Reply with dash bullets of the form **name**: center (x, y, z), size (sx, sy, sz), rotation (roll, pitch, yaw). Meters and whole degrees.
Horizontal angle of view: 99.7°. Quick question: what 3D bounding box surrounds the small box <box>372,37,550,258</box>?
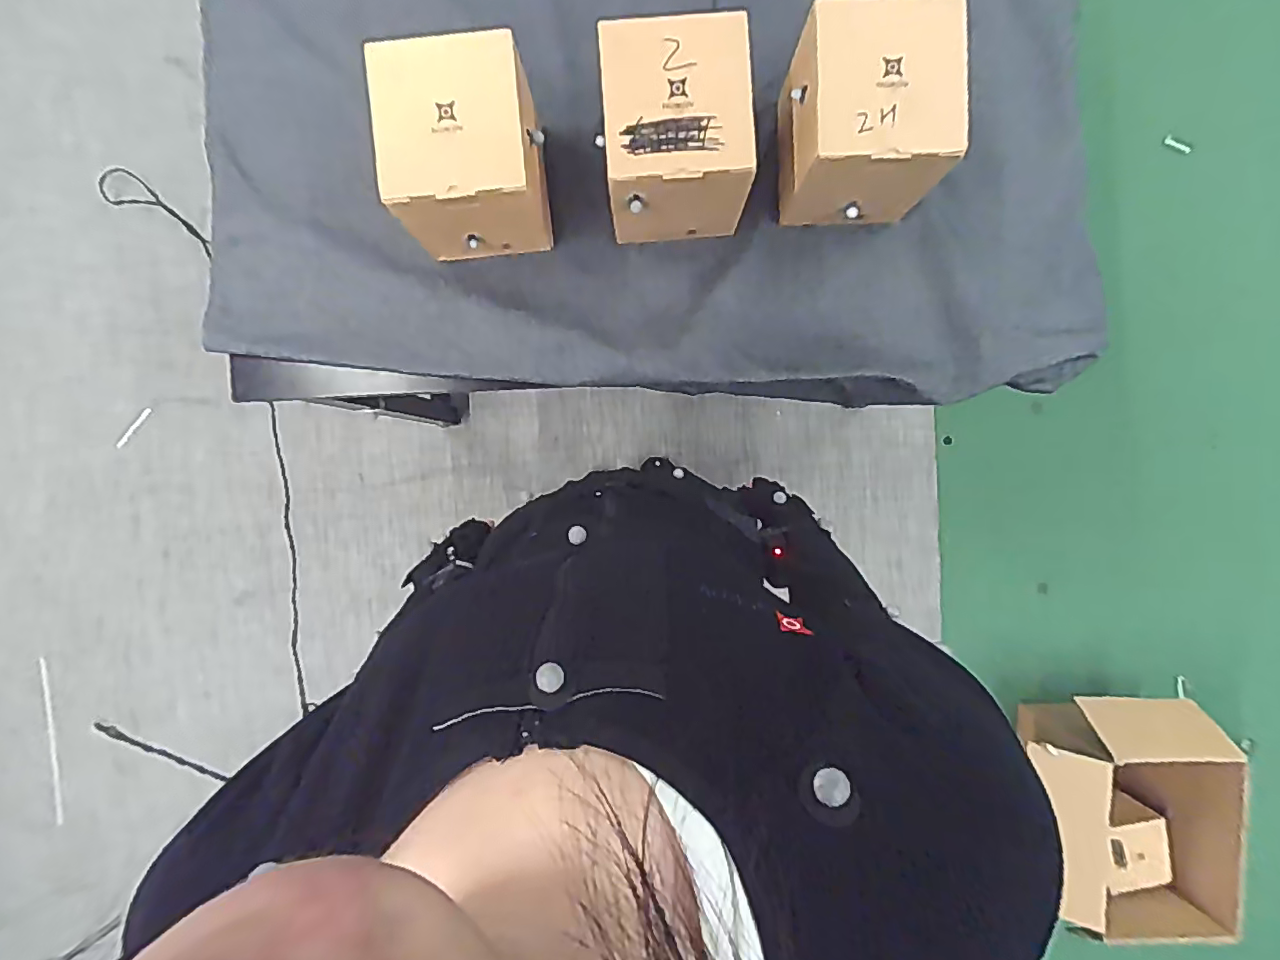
- **small box**: center (-0.213, -0.405, 0.685), size (0.168, 0.176, 0.179), rotation (-5, 92, 0)
